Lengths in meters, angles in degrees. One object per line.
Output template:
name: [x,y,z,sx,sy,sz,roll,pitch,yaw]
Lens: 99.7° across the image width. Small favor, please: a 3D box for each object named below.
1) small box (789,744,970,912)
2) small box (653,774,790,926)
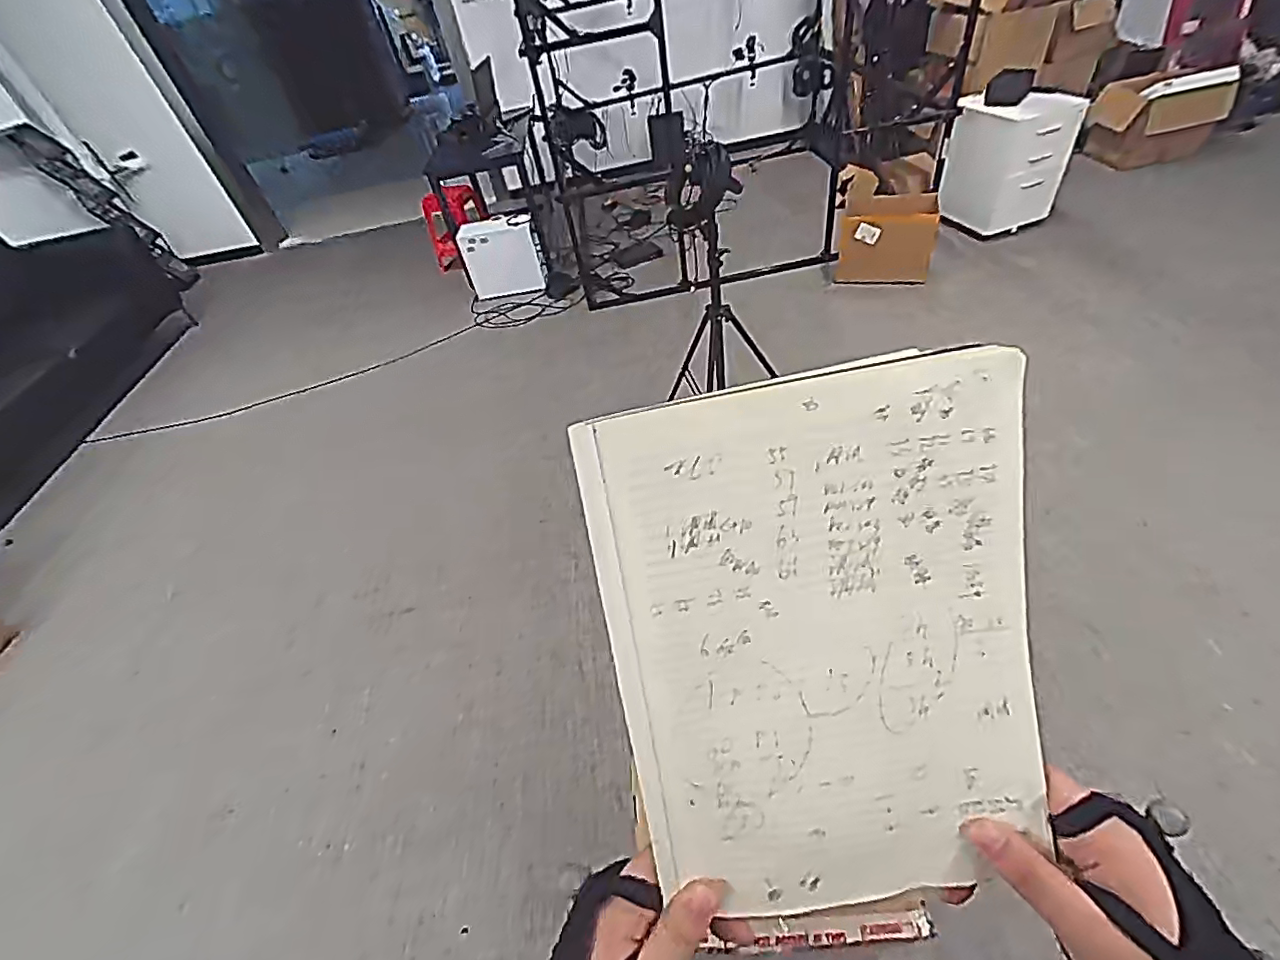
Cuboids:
small box: [0.331,0.510,0.790,0.179,0.176,0.168,-10,46,0]
small box: [0.118,0.547,0.799,0.179,0.176,0.168,-6,47,8]
